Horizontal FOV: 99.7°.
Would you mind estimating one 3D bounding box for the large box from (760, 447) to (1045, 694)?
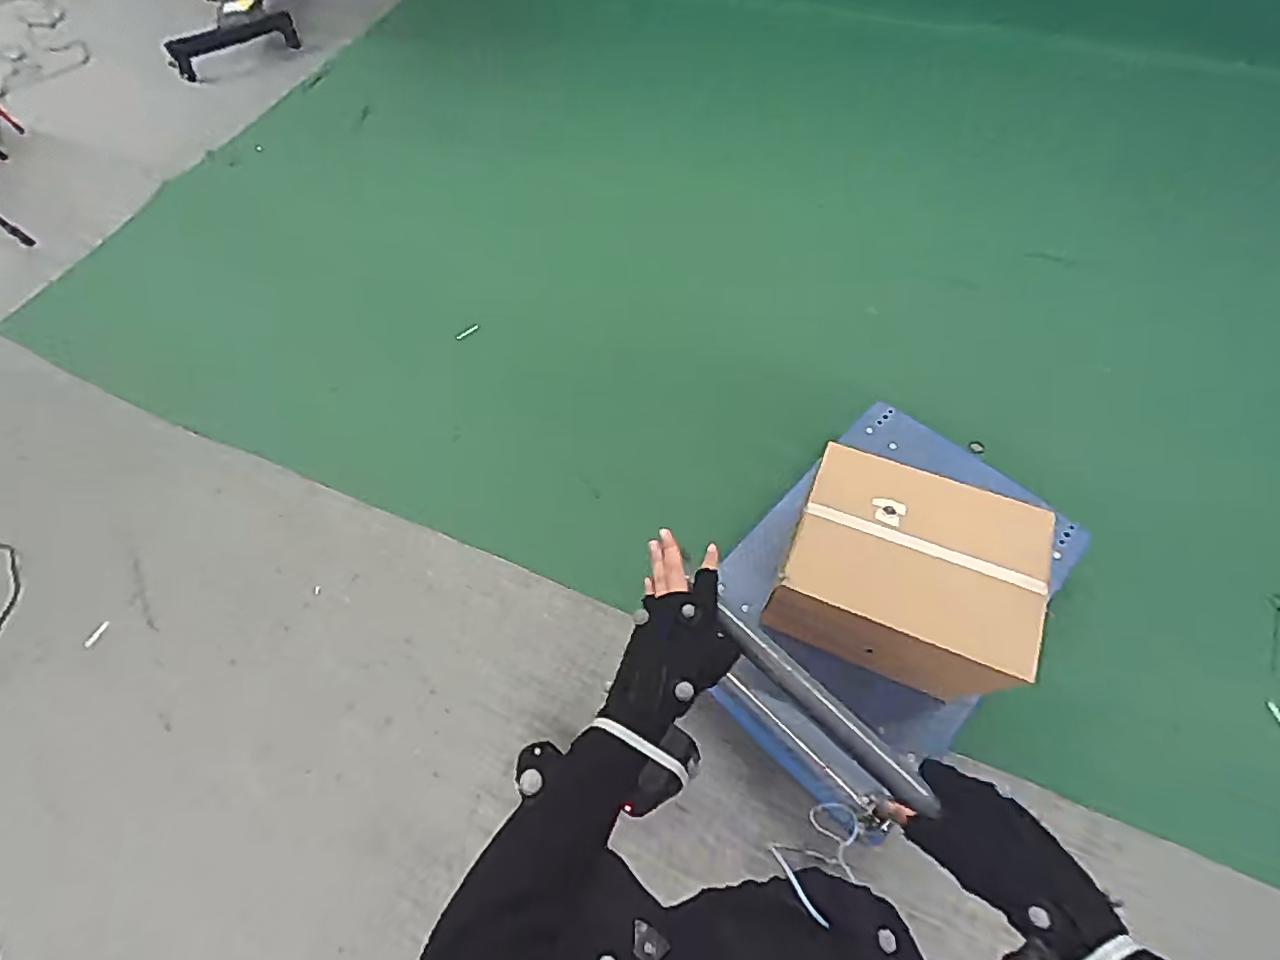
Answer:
[{"bbox_3d":[0.492,0.189,1.079,0.408,0.320,0.320,20,66,15],"label":"large box"}]
